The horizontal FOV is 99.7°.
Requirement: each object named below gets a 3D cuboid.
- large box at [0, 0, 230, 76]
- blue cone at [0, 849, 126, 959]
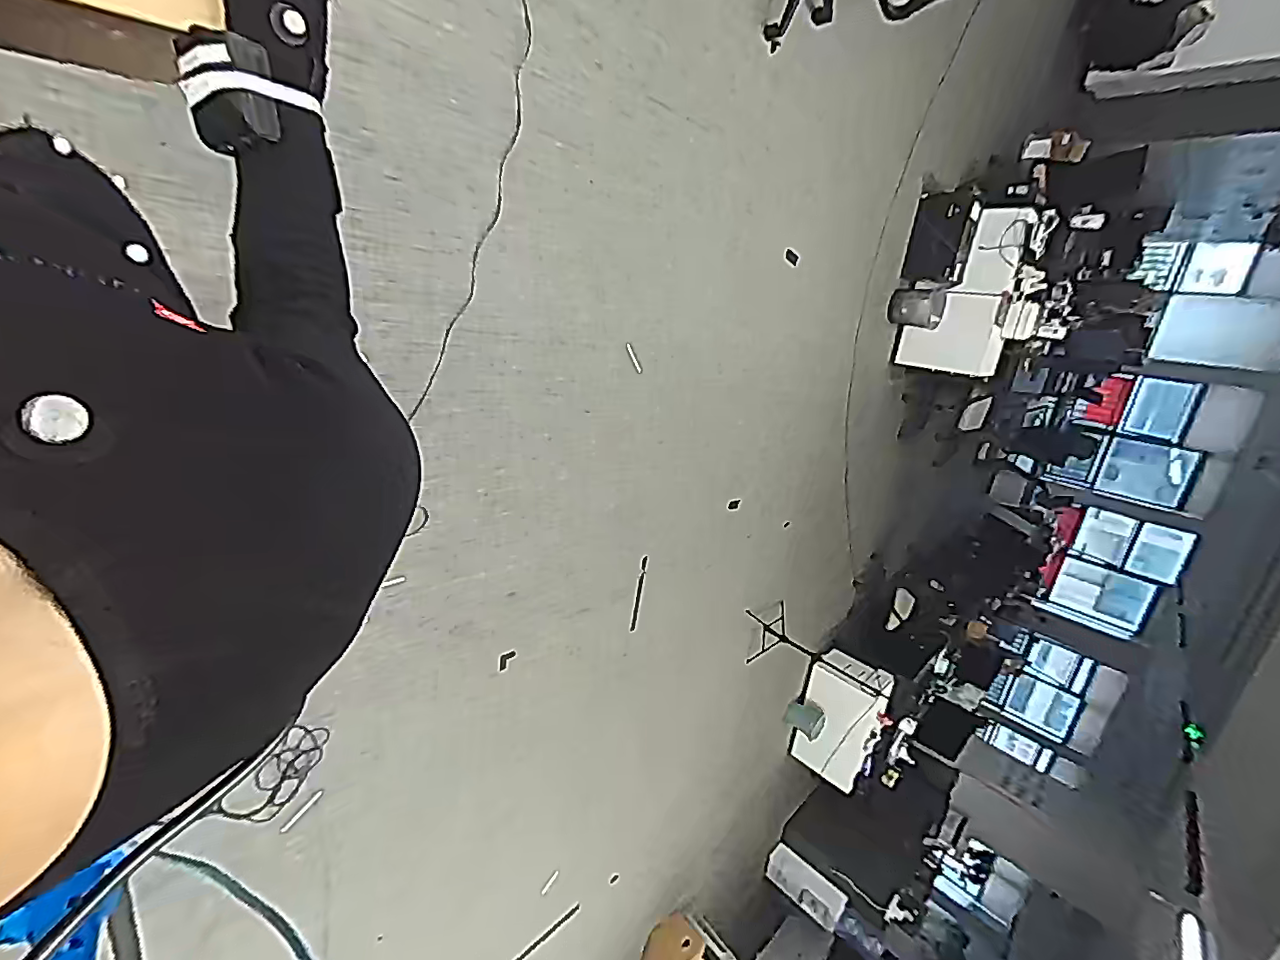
[{"bbox_3d":[-0.529,-0.472,0.293,0.408,0.320,0.320,-17,124,-43],"label":"large box"},{"bbox_3d":[-1.263,1.035,1.188,0.193,0.380,0.192,20,93,-49],"label":"blue cone"}]
